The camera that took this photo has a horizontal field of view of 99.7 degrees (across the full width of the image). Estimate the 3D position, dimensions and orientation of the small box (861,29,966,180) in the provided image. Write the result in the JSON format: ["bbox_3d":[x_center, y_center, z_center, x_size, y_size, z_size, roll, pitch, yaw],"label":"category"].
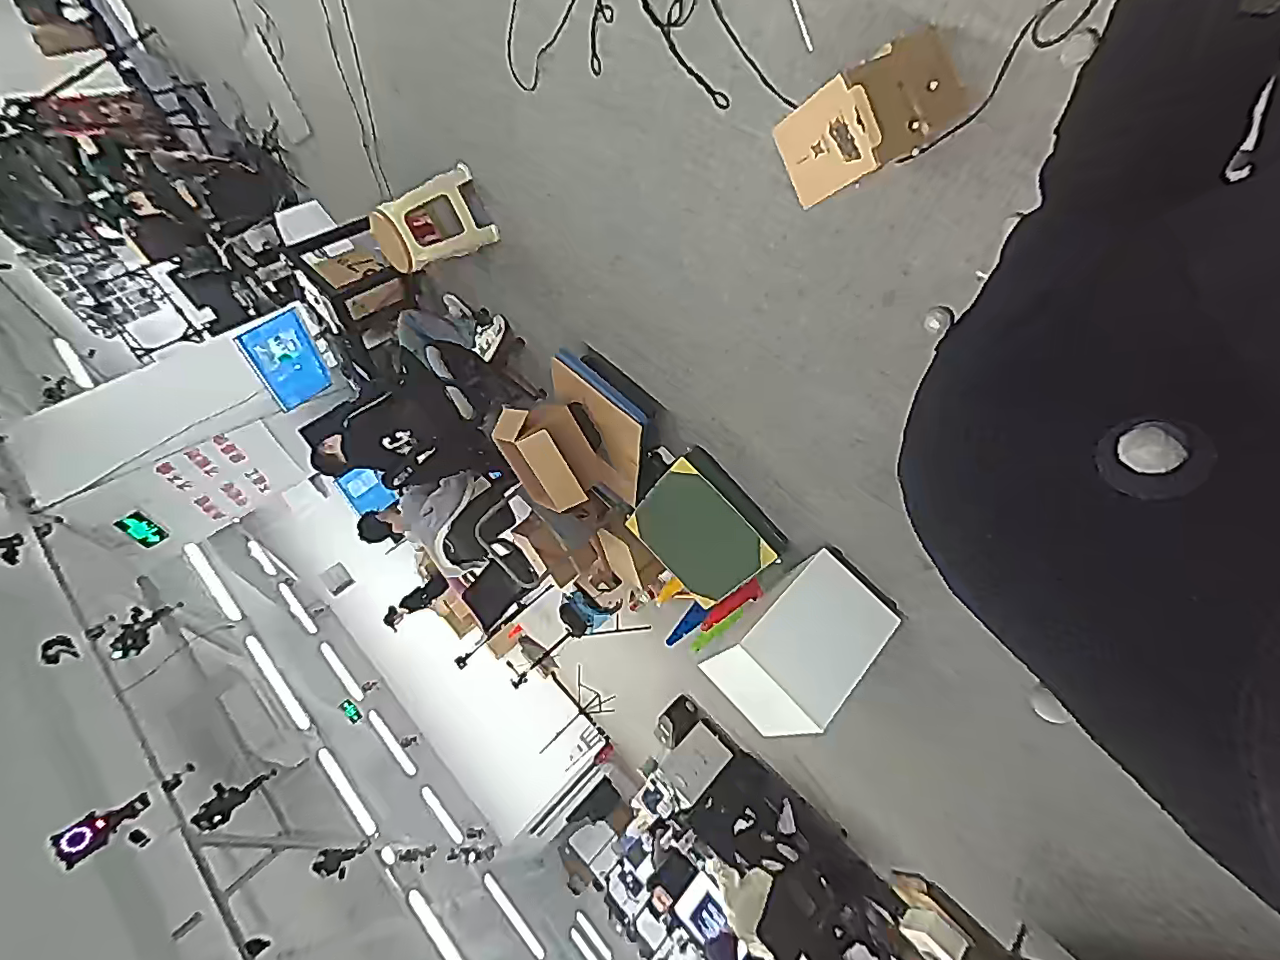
[{"bbox_3d":[0.519,-0.758,1.095,0.179,0.176,0.168,57,154,-11],"label":"small box"}]

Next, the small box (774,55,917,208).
[{"bbox_3d":[0.399,-0.662,1.033,0.179,0.176,0.168,-3,121,60],"label":"small box"}]
